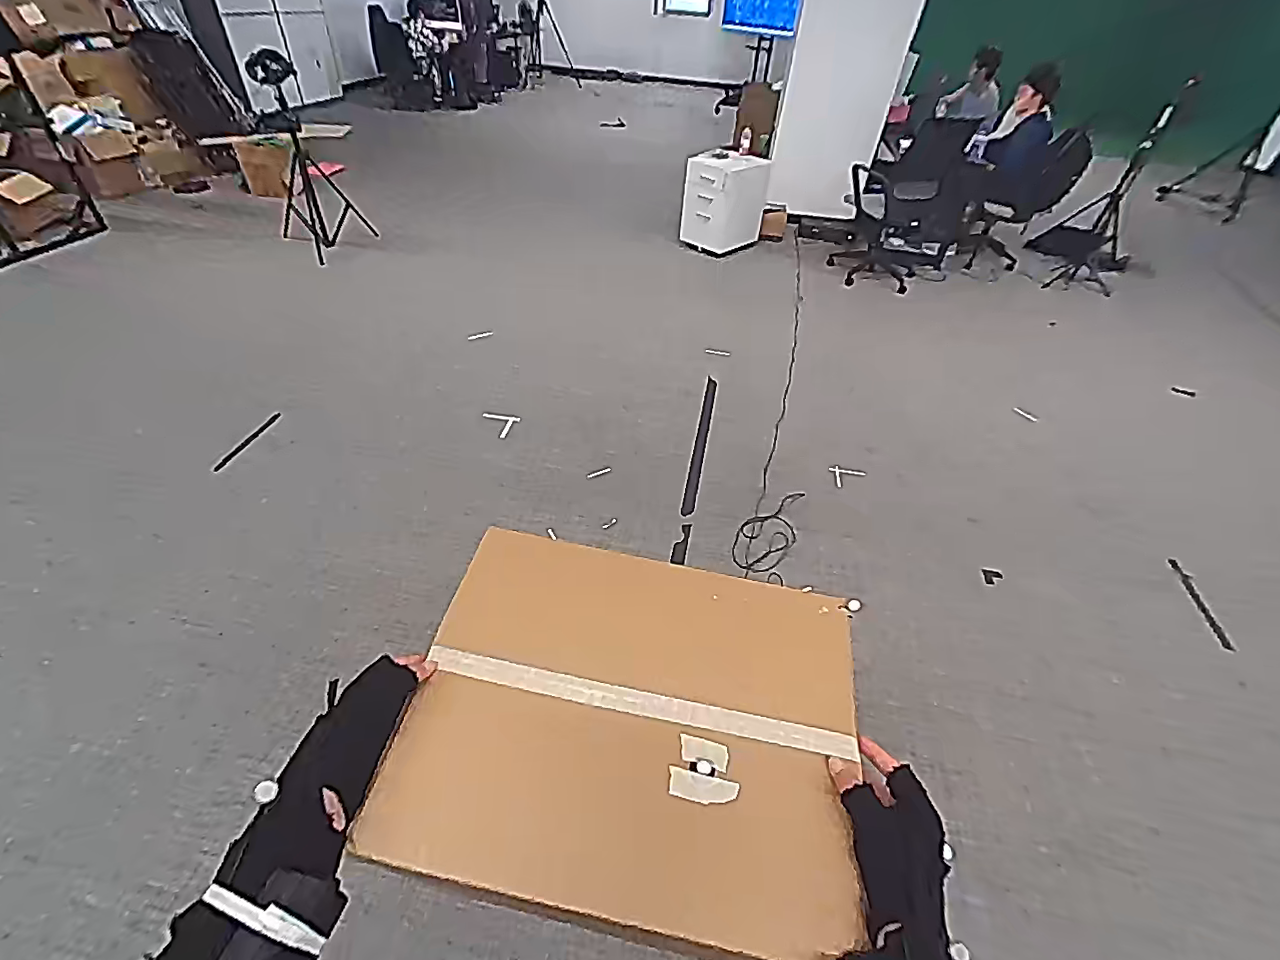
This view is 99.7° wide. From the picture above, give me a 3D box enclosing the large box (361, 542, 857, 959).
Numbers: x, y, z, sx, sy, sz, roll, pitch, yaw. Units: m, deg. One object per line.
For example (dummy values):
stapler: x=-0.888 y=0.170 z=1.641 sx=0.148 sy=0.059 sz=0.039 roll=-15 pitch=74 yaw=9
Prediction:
large box: x=-0.018 y=0.313 z=0.626 sx=0.408 sy=0.320 sz=0.320 roll=11 pitch=50 yaw=4
